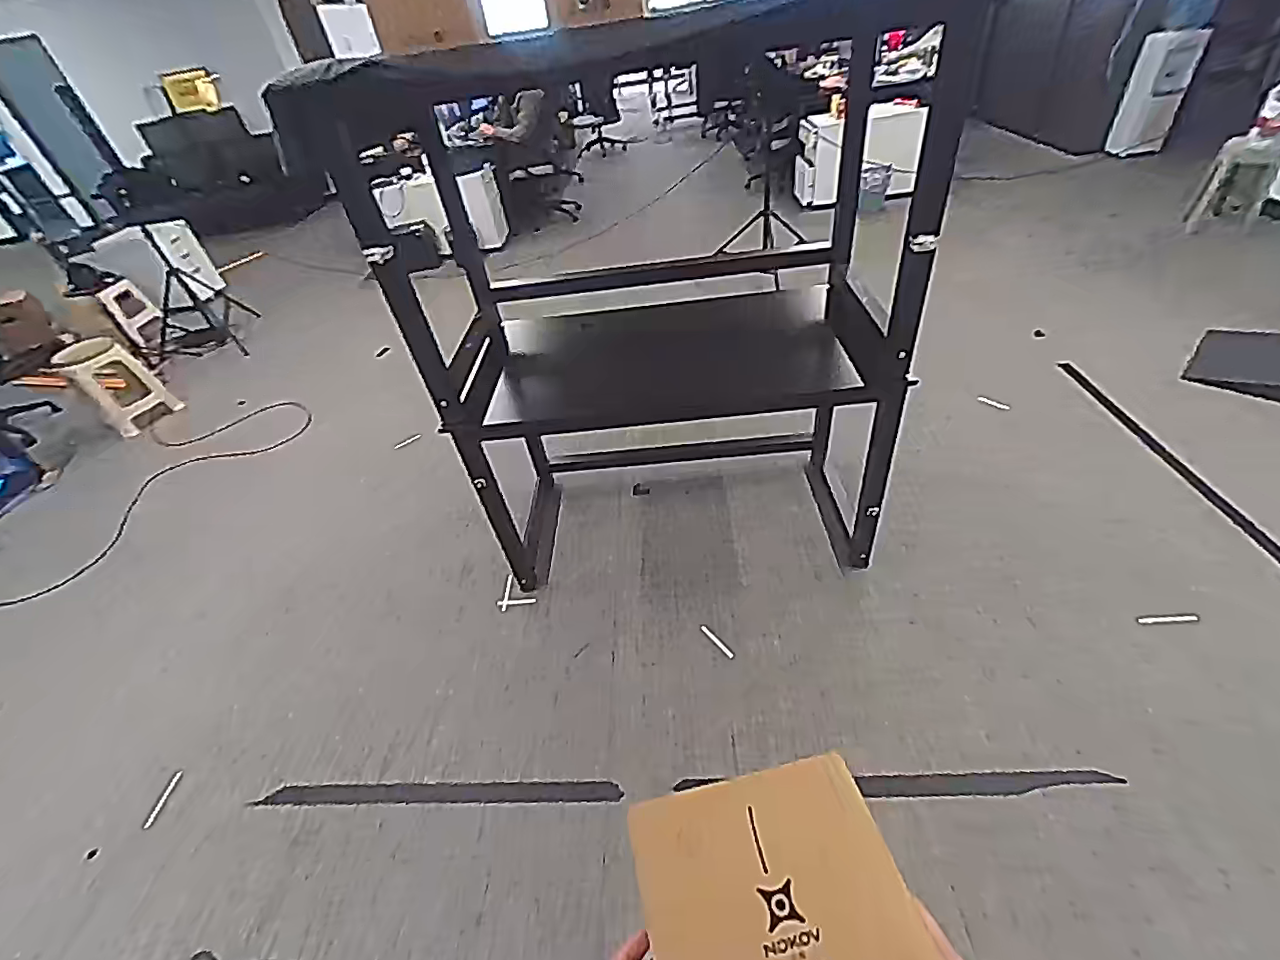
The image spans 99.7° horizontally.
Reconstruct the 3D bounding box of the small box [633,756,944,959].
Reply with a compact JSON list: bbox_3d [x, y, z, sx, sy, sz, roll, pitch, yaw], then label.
[{"bbox_3d":[0.096,0.334,0.379,0.168,0.176,0.179,-10,39,-7],"label":"small box"}]

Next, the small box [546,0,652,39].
[{"bbox_3d":[-0.072,-0.856,0.905,0.168,0.176,0.179,-4,40,8],"label":"small box"}]
